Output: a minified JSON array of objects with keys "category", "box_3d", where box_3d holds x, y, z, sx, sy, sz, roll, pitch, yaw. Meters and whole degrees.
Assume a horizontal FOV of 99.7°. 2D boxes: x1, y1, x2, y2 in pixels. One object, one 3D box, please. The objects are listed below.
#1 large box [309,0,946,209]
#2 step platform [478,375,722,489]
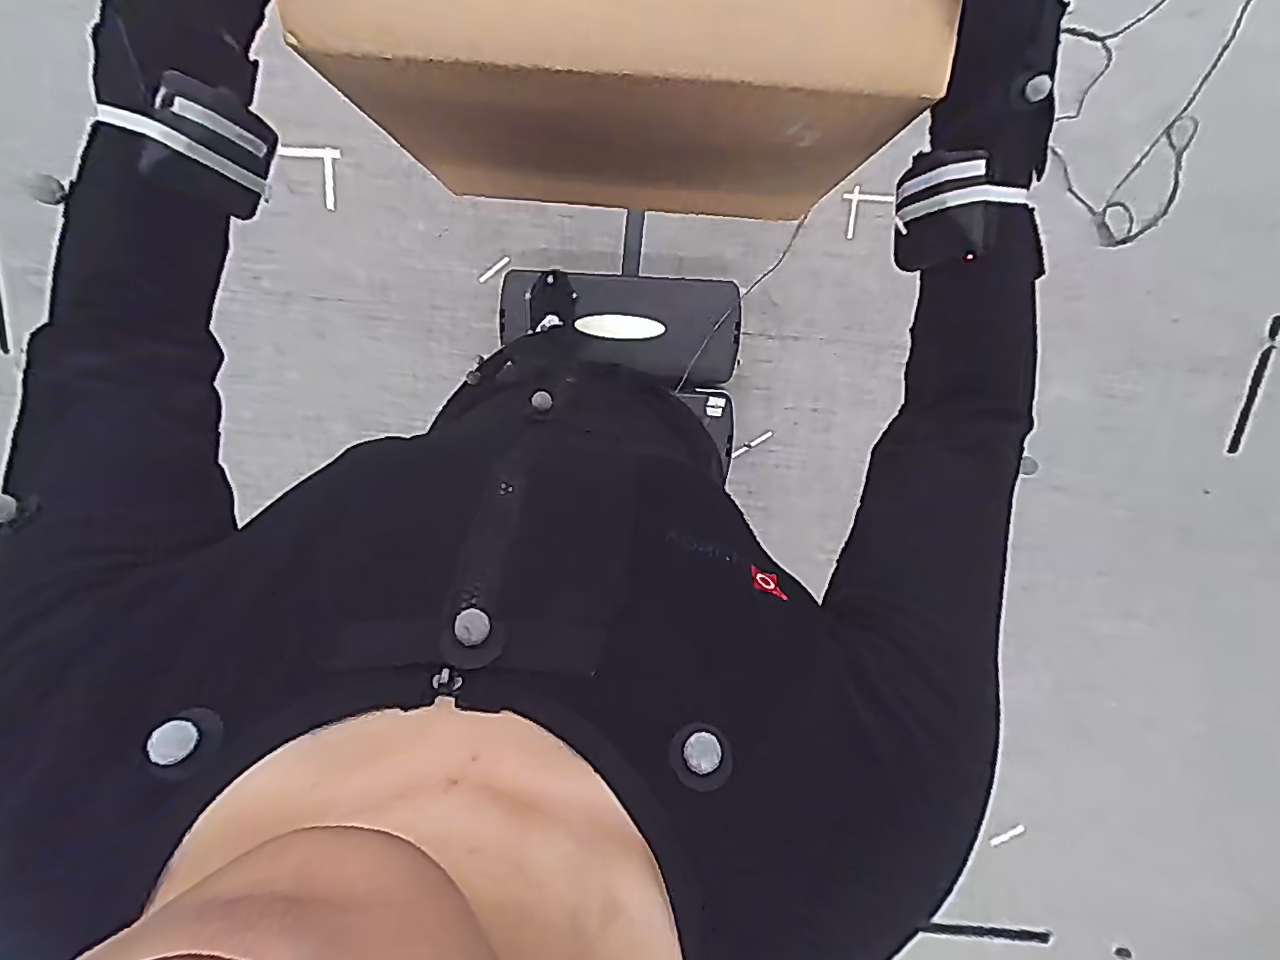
[{"category":"large box","box_3d":[-0.005,-0.442,0.456,0.408,0.320,0.320,3,103,-2]},{"category":"step platform","box_3d":[-0.108,-0.138,1.546,0.684,0.204,0.286,3,101,1]}]
